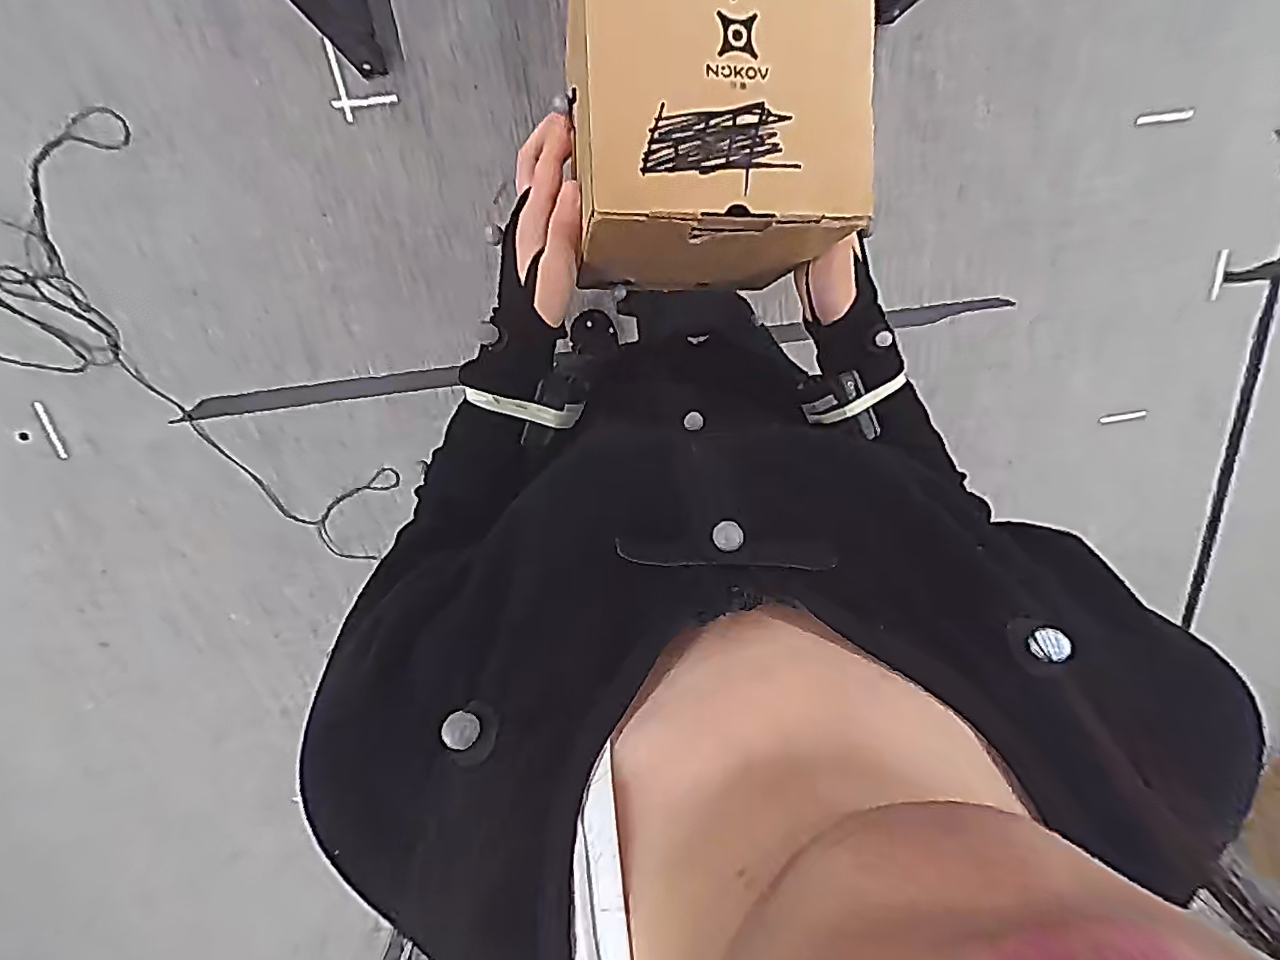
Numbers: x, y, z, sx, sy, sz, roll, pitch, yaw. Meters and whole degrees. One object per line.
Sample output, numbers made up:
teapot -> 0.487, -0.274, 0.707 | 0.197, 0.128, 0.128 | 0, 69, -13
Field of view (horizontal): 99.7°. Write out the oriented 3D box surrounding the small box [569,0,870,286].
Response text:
small box -> 0.037, -0.243, 0.377 | 0.168, 0.176, 0.179 | -3, 95, -9
